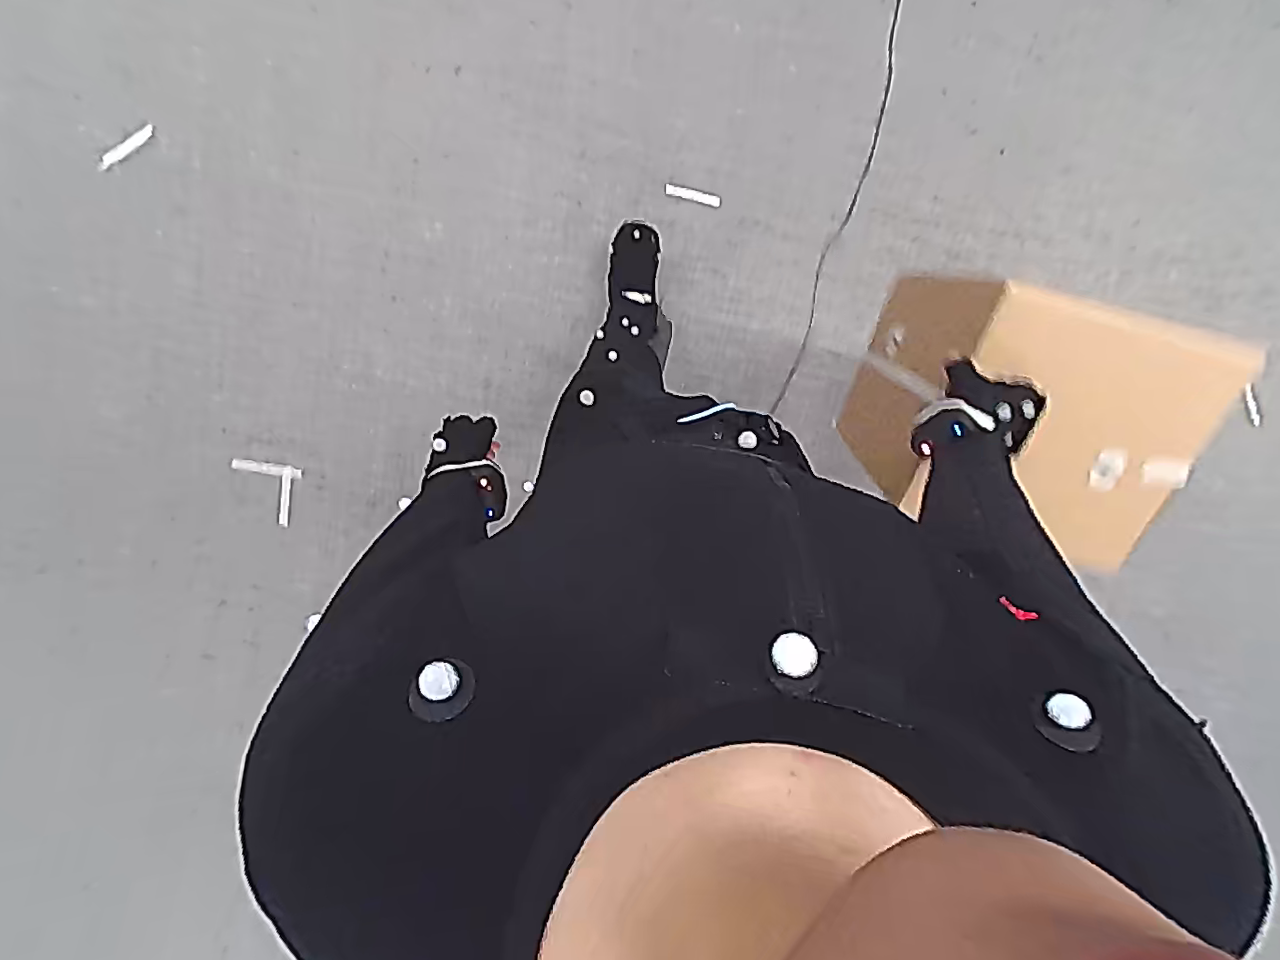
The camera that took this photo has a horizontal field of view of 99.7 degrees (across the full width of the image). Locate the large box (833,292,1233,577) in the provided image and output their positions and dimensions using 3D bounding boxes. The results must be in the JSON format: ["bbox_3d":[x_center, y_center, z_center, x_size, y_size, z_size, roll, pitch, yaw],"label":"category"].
[{"bbox_3d":[0.561,-0.105,0.885,0.320,0.408,0.320,21,112,1],"label":"large box"}]
